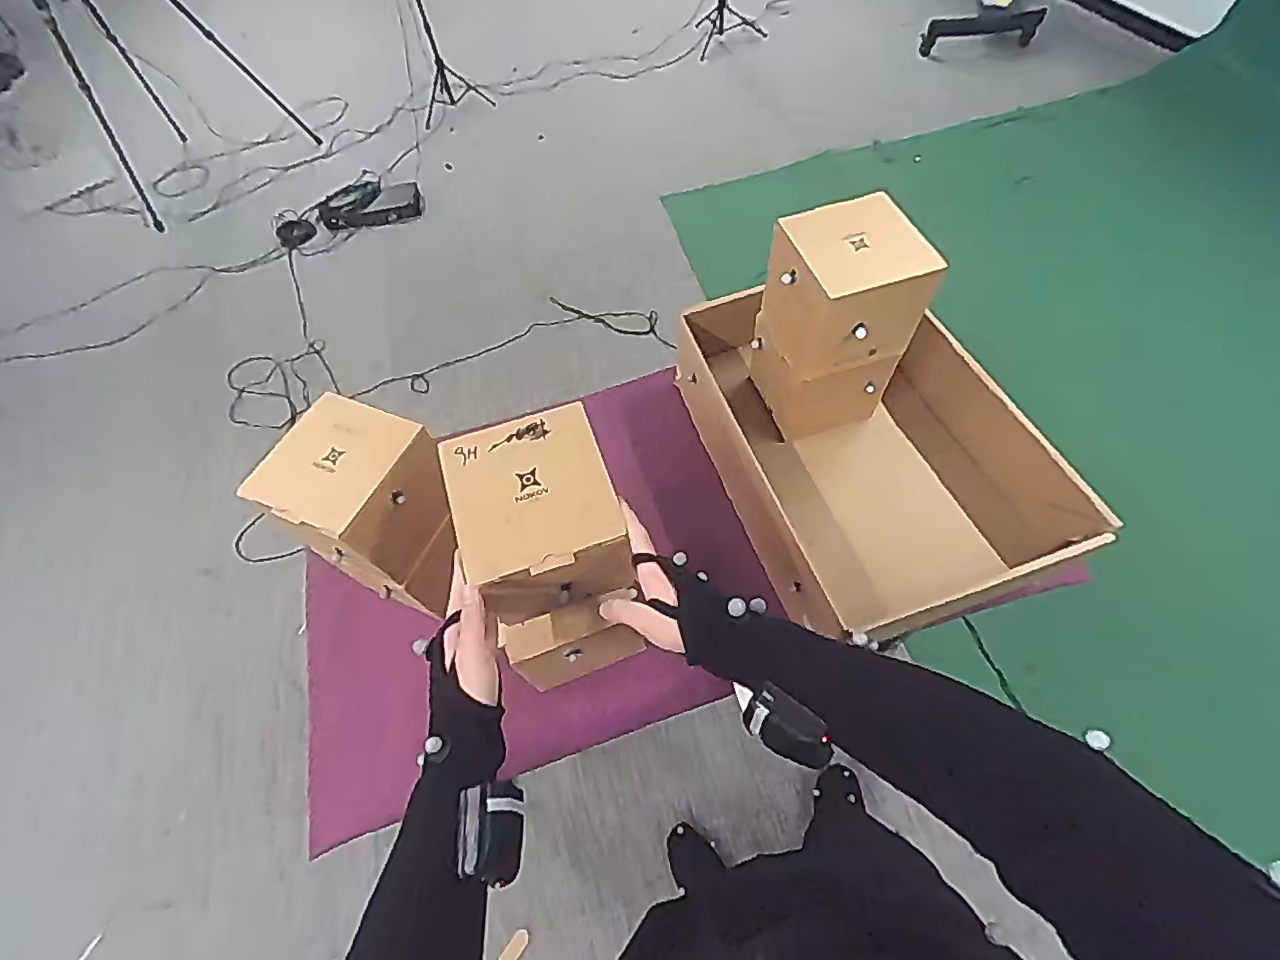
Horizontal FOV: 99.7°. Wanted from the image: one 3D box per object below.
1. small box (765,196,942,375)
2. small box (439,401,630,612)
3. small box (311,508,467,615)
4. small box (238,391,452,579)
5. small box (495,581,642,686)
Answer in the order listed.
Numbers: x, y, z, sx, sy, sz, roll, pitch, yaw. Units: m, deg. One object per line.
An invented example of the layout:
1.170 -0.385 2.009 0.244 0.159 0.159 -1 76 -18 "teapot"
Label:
0.299 -0.277 0.803 0.168 0.176 0.179 -16 60 -4 "small box"
-0.112 0.042 0.629 0.168 0.176 0.179 -18 66 -9 "small box"
-0.375 0.102 0.884 0.179 0.176 0.168 19 62 15 "small box"
-0.381 0.014 0.747 0.168 0.176 0.179 20 63 14 "small box"
-0.108 0.188 0.809 0.179 0.176 0.168 -20 59 -7 "small box"
